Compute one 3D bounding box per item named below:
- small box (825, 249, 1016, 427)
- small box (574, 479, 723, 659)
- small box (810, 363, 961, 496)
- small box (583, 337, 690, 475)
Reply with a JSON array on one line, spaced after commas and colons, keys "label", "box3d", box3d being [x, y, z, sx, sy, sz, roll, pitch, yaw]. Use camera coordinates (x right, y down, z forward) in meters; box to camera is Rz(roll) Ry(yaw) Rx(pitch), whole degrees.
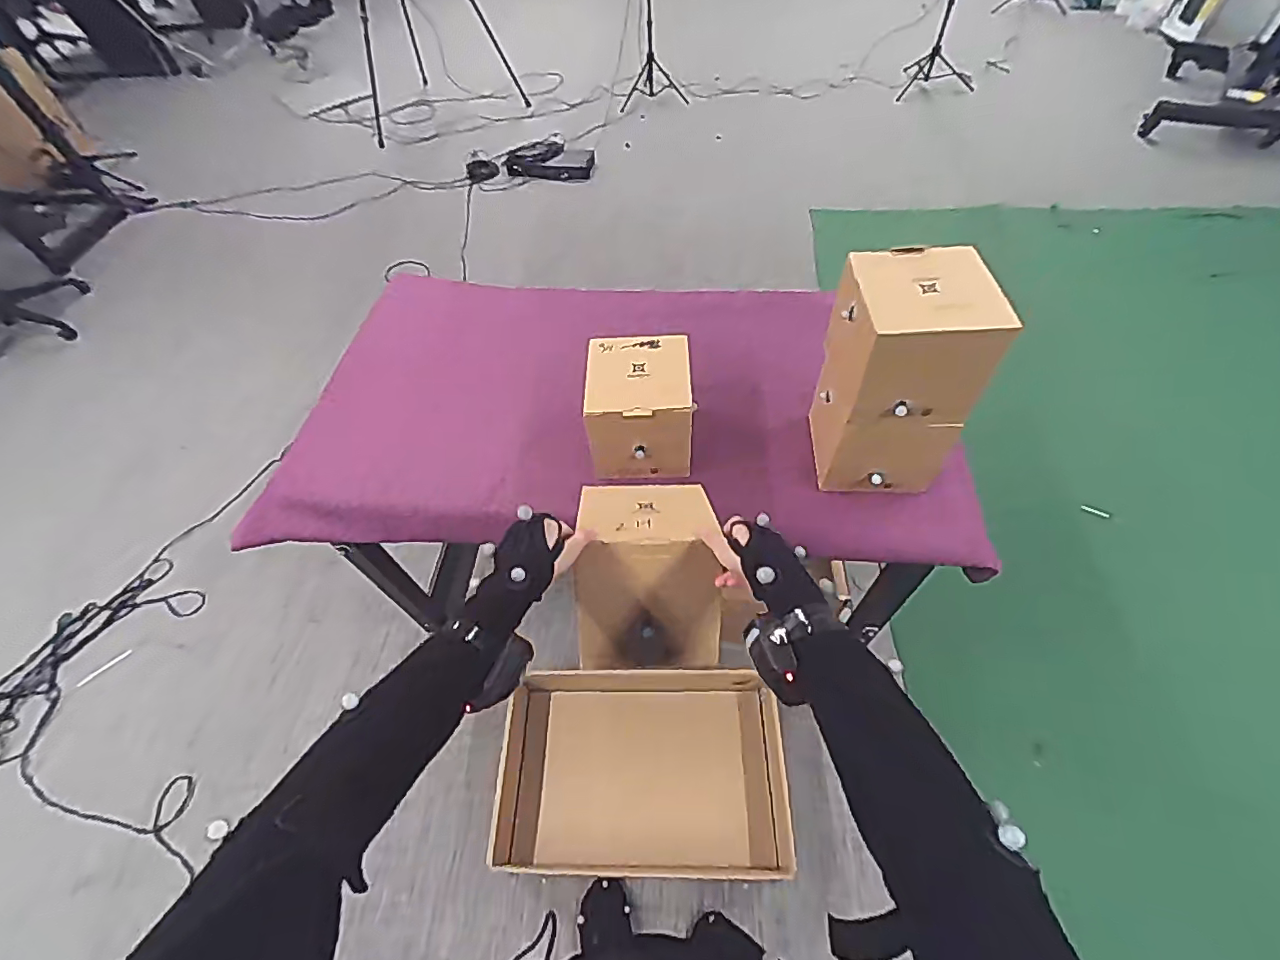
[{"label": "small box", "box3d": [0.365, -0.193, 0.747, 0.168, 0.176, 0.179, -1, 53, 5]}, {"label": "small box", "box3d": [0.006, 0.105, 0.688, 0.168, 0.176, 0.179, -1, 19, -2]}, {"label": "small box", "box3d": [0.379, -0.095, 0.875, 0.168, 0.176, 0.179, 1, 54, 6]}, {"label": "small box", "box3d": [0.001, -0.119, 0.919, 0.168, 0.176, 0.179, -1, 54, 2]}]
